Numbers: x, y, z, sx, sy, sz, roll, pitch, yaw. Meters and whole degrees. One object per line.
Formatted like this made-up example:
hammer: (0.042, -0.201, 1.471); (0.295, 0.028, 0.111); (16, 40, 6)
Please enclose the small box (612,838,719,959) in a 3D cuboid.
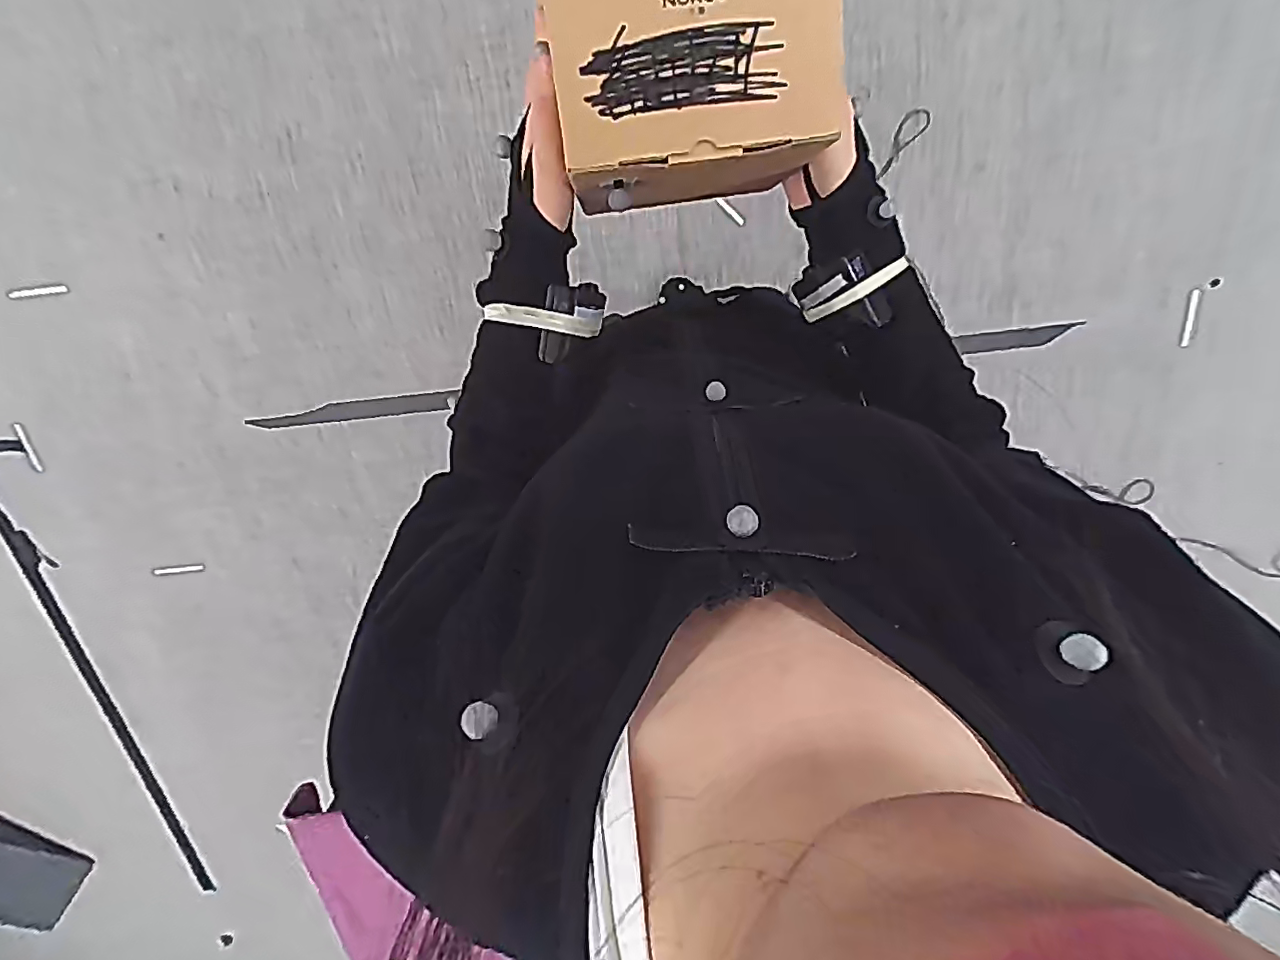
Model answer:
small box: (0.044, 0.758, 0.930); (0.168, 0.176, 0.179); (-5, 110, 1)
